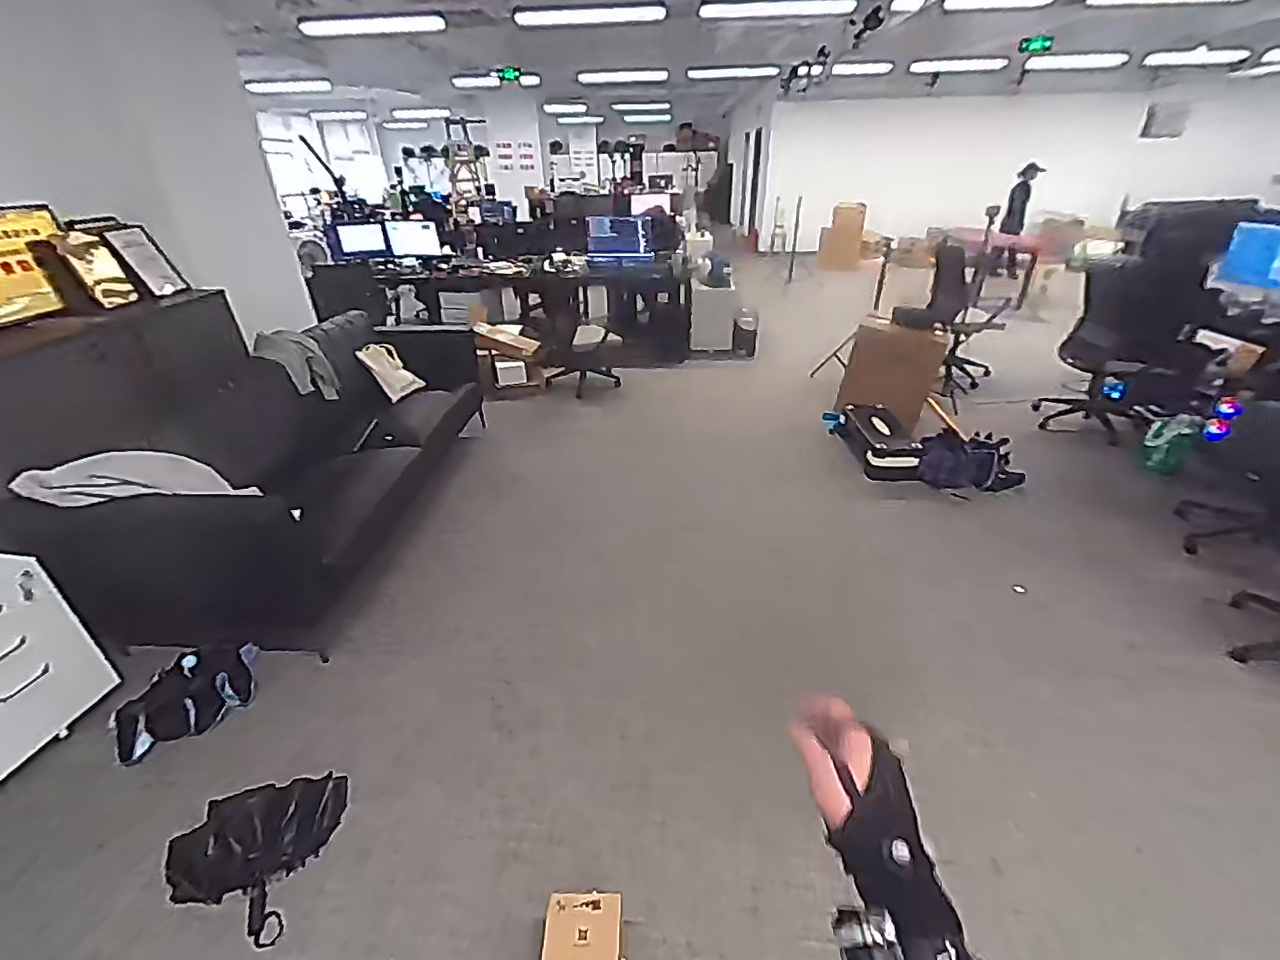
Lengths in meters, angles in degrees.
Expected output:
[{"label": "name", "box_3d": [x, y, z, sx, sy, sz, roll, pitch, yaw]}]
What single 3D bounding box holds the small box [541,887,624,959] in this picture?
[{"label": "small box", "box_3d": [-0.123, 1.051, 1.213, 0.168, 0.176, 0.179, -1, 32, 2]}]
